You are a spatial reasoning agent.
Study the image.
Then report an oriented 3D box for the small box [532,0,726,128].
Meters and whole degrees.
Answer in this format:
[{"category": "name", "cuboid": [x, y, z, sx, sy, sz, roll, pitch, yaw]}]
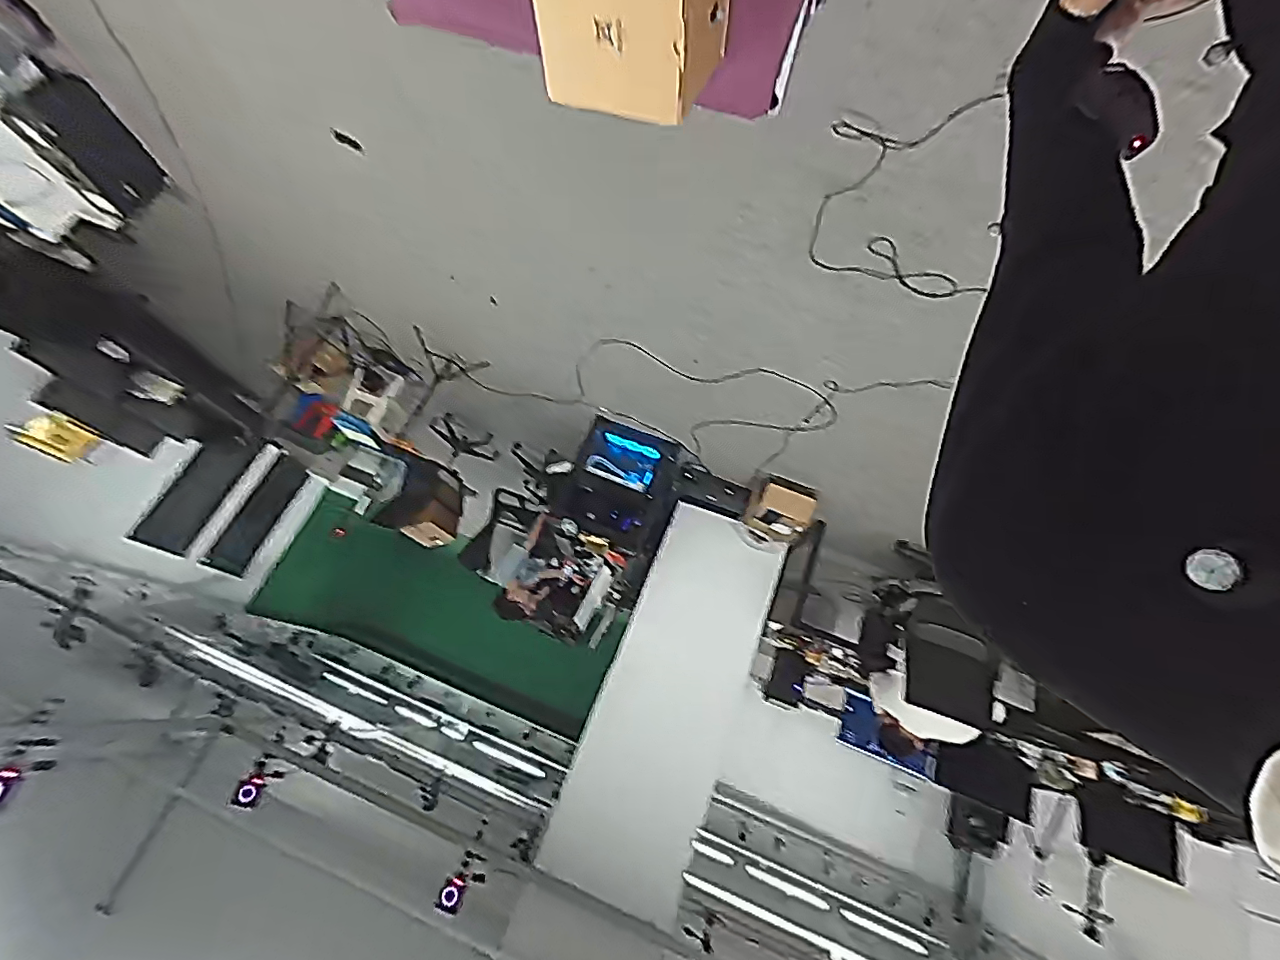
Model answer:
[{"category": "small box", "cuboid": [-0.007, -0.547, 0.616, 0.179, 0.176, 0.168, 18, 156, 11]}]
